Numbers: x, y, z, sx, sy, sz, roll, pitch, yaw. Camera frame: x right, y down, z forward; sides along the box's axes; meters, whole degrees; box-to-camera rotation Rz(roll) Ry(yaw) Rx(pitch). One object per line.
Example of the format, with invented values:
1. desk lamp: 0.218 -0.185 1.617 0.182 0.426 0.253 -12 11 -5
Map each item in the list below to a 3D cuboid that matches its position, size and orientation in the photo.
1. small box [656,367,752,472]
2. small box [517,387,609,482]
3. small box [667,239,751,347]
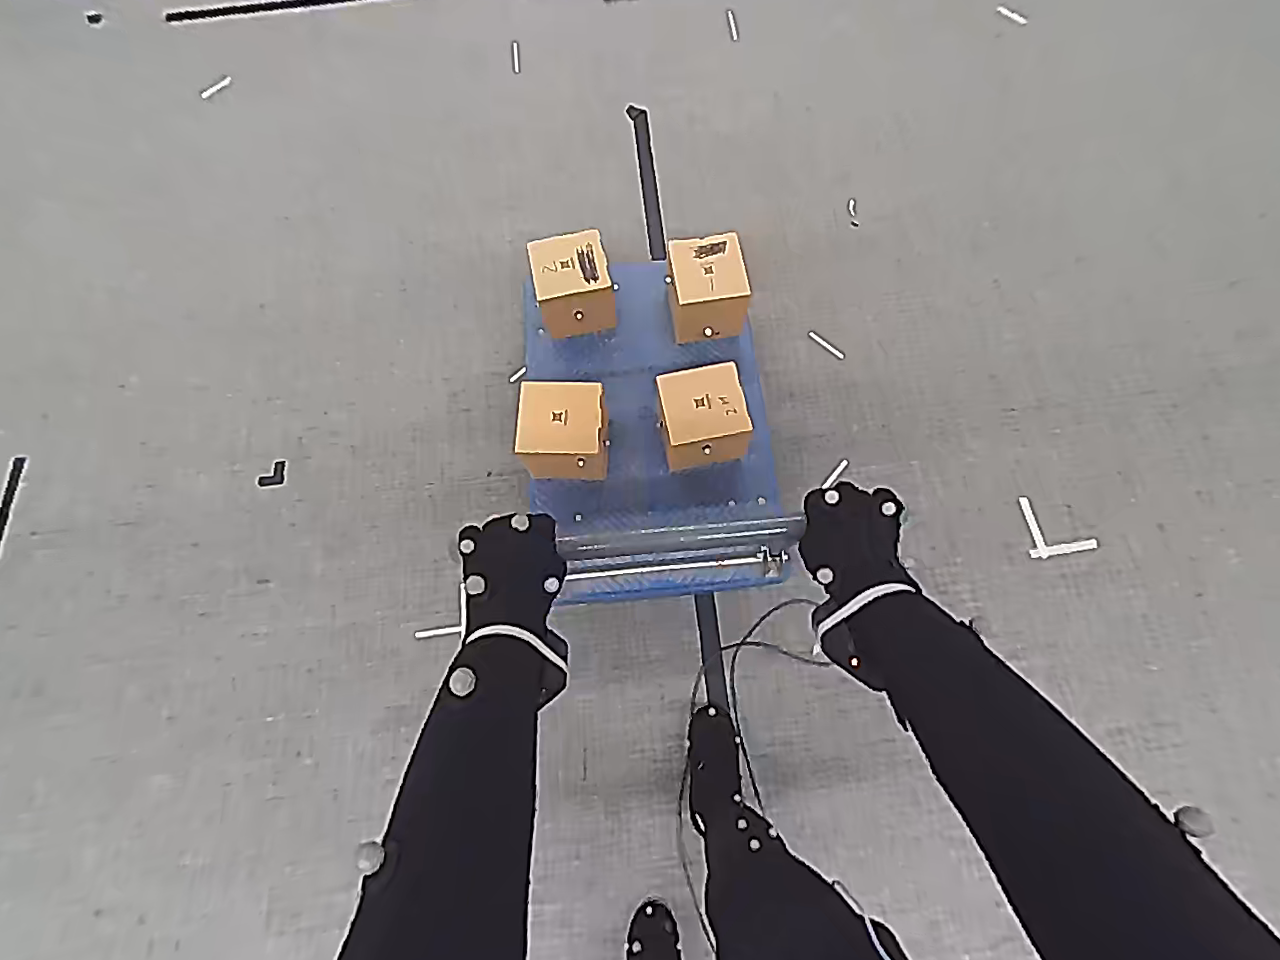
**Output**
1. small box: 0.138 -0.127 1.215 0.179 0.176 0.168 -11 73 -2
2. small box: -0.165 -0.097 1.214 0.179 0.176 0.168 1 72 0
3. small box: 0.160 -0.451 1.317 0.168 0.176 0.179 -8 73 -1
